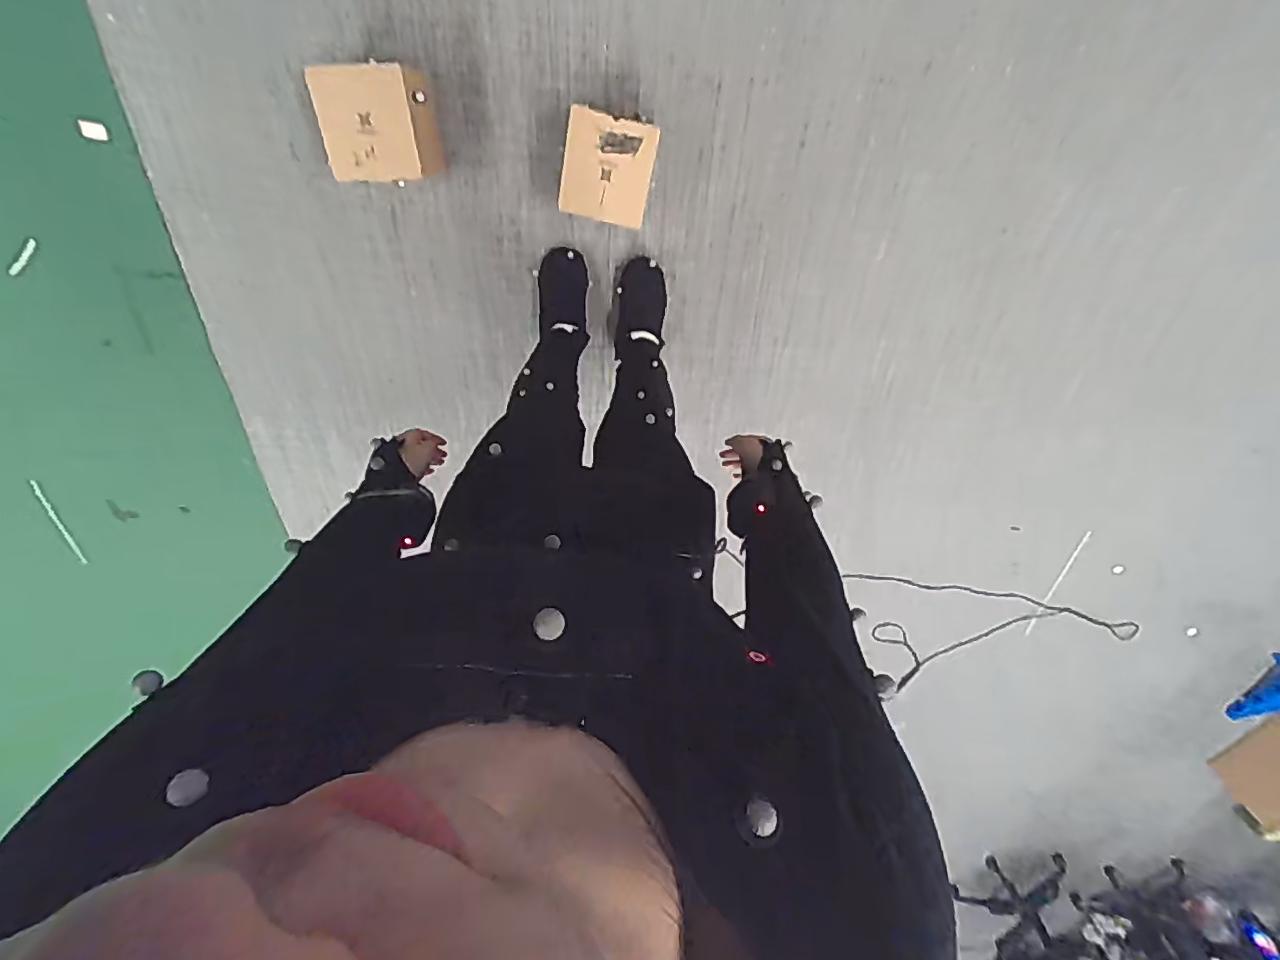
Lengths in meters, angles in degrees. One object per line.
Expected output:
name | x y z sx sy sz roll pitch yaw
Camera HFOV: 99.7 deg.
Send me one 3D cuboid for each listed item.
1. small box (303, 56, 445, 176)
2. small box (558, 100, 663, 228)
small box | -0.482 -0.673 1.010 0.168 0.176 0.179 -1 123 -1
small box | -0.060 -0.618 1.058 0.168 0.176 0.179 11 123 -8
